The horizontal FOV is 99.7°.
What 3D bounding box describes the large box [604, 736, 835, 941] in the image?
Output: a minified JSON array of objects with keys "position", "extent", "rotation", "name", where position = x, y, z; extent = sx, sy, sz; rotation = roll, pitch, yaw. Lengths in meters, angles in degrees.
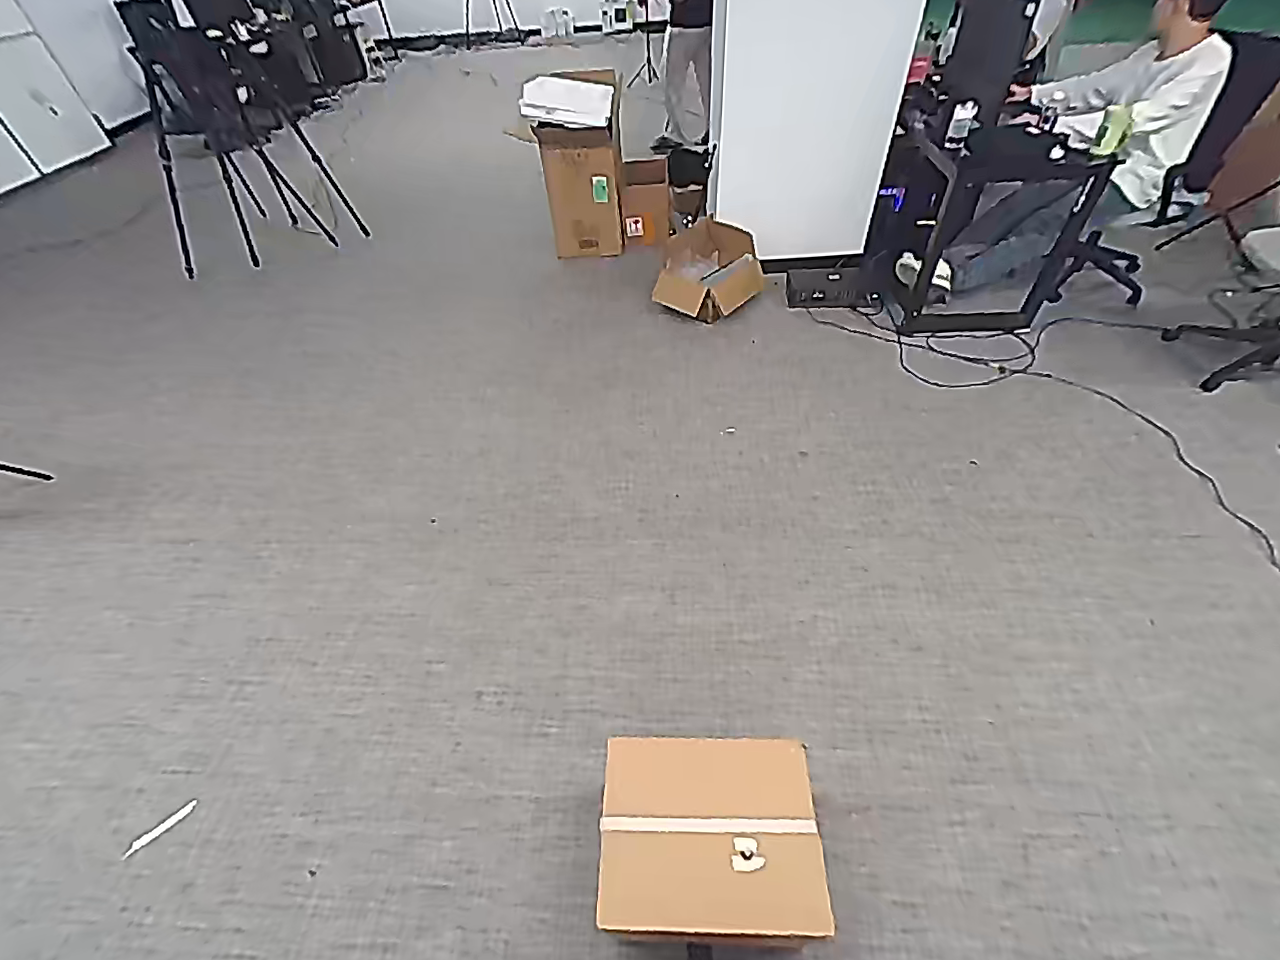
[{"position":[0.140,0.748,1.126],"extent":[0.408,0.320,0.320],"rotation":[-1,48,2],"name":"large box"}]
